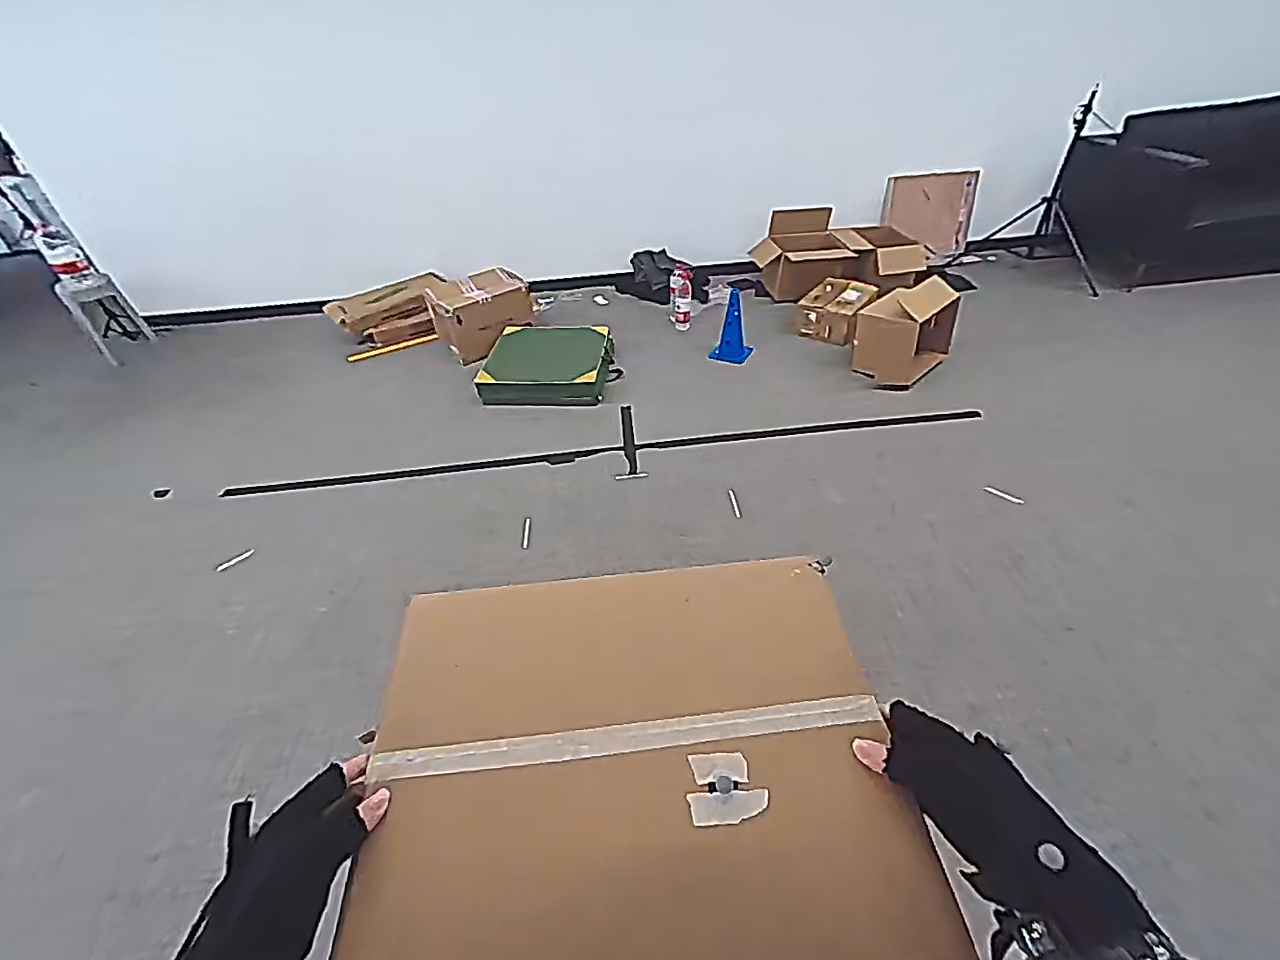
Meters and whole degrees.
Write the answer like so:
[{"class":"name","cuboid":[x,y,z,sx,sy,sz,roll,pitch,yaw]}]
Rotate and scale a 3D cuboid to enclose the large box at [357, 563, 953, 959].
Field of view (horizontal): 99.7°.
[{"class":"large box","cuboid":[0.001,0.319,0.554,0.408,0.320,0.320,-5,46,-3]}]
